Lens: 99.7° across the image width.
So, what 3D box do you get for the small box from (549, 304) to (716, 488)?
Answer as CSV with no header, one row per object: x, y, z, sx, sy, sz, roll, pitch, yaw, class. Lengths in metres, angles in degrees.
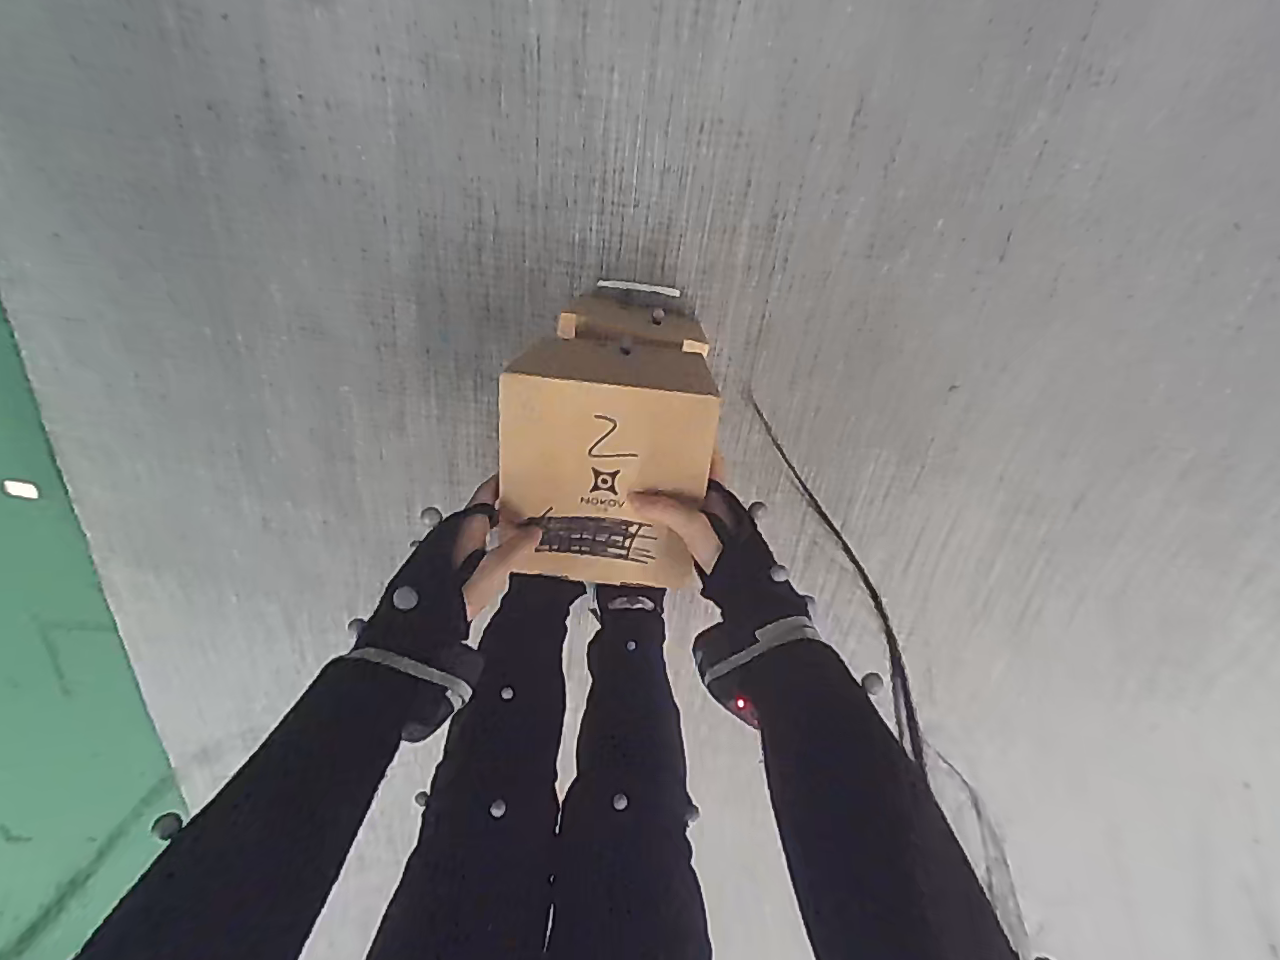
-0.012,-0.116,0.697,0.168,0.176,0.179,12,115,-4,small box
